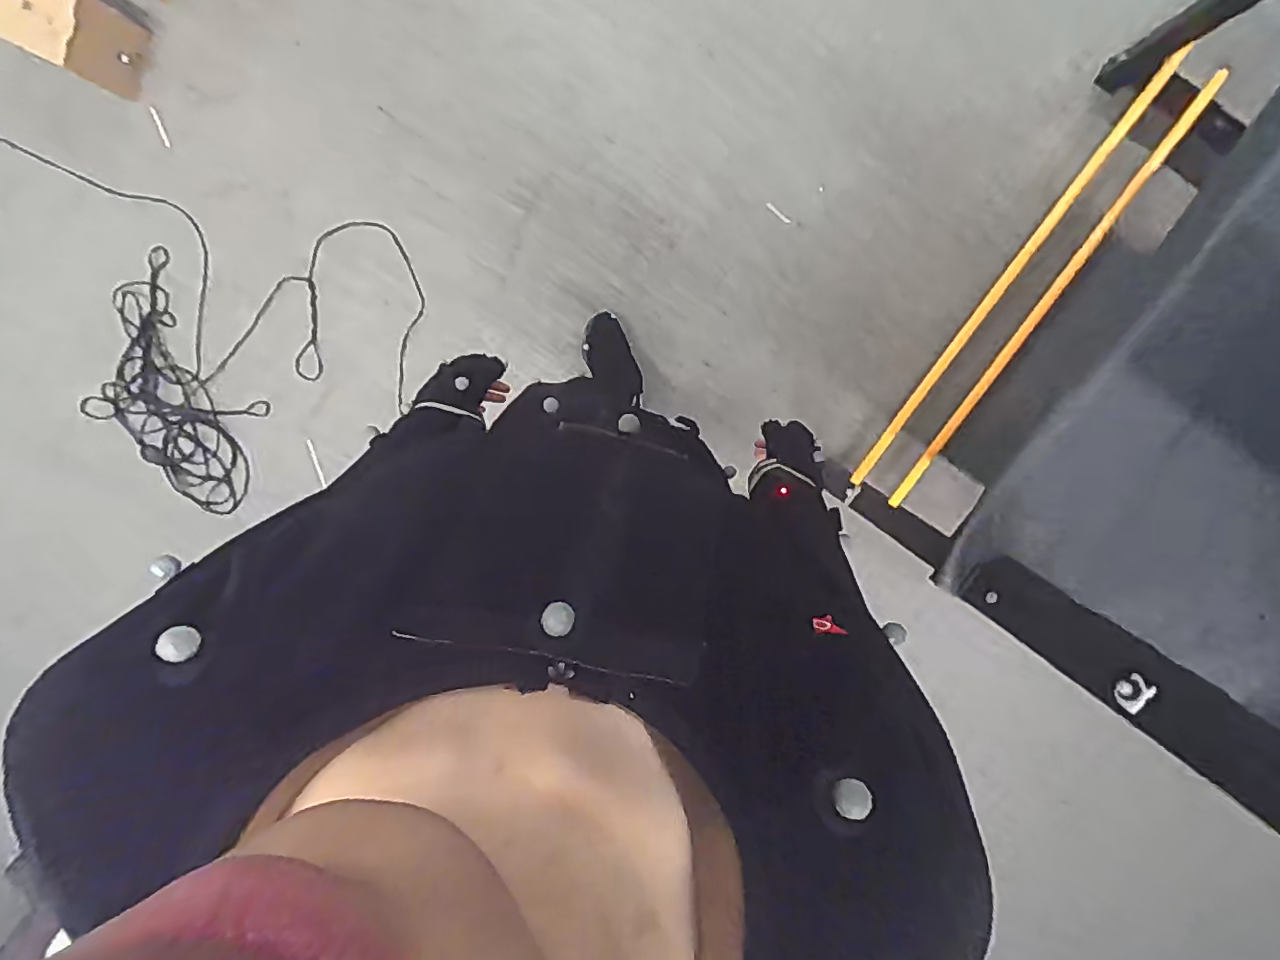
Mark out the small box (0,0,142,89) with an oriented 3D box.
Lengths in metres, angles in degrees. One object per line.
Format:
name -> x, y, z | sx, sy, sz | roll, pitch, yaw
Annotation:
small box -> -1.281, -1.019, 1.202 | 0.179, 0.176, 0.168 | 25, 103, -4
